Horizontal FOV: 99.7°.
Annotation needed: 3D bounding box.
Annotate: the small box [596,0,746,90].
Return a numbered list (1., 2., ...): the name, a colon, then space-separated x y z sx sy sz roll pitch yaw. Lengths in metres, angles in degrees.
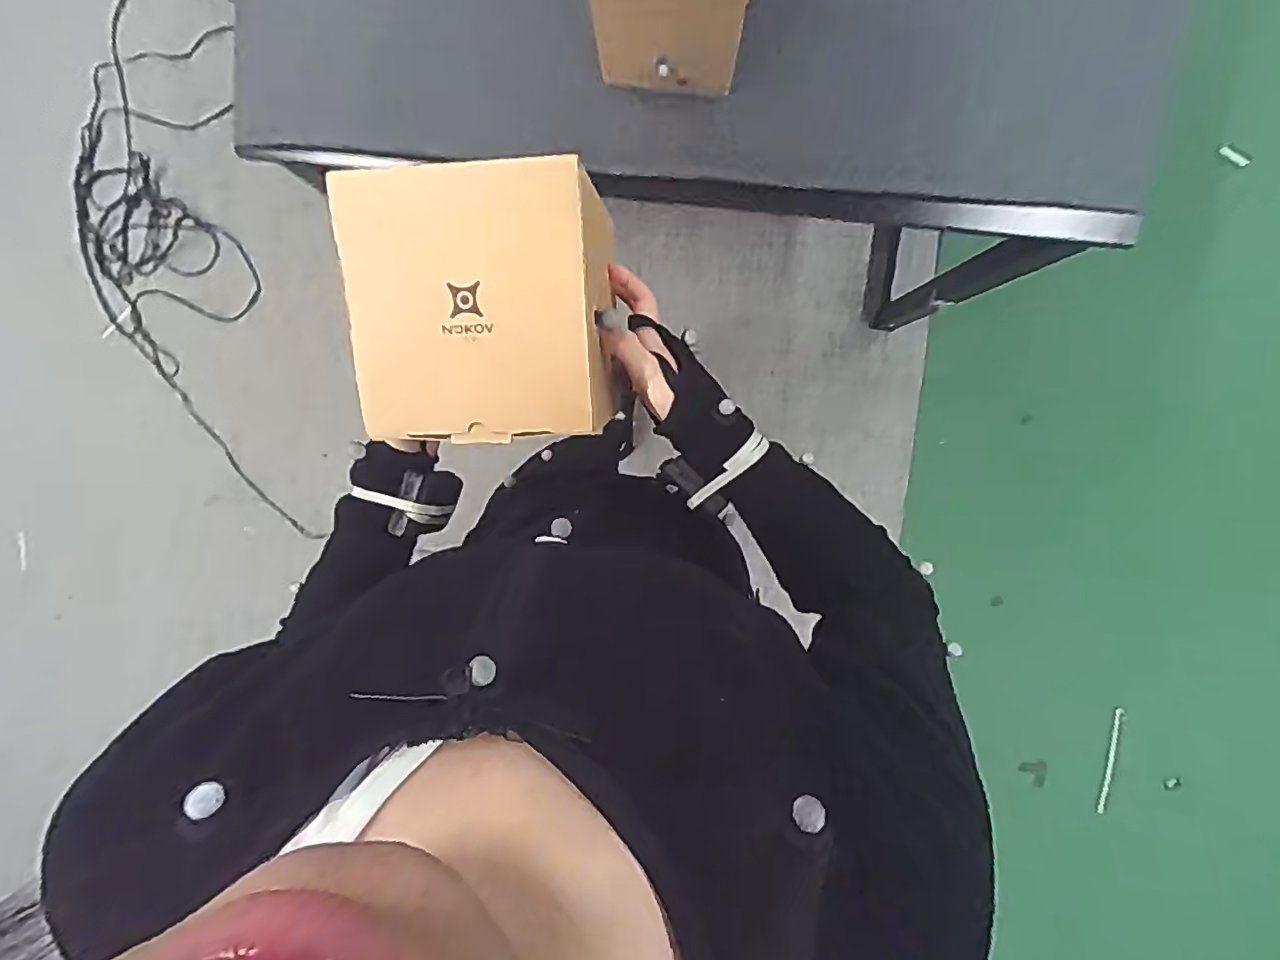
1. small box: 0.040 -0.586 0.602 0.168 0.176 0.179 8 95 2

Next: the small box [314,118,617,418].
1. small box: -0.109 -0.144 0.418 0.168 0.176 0.179 -1 103 4
